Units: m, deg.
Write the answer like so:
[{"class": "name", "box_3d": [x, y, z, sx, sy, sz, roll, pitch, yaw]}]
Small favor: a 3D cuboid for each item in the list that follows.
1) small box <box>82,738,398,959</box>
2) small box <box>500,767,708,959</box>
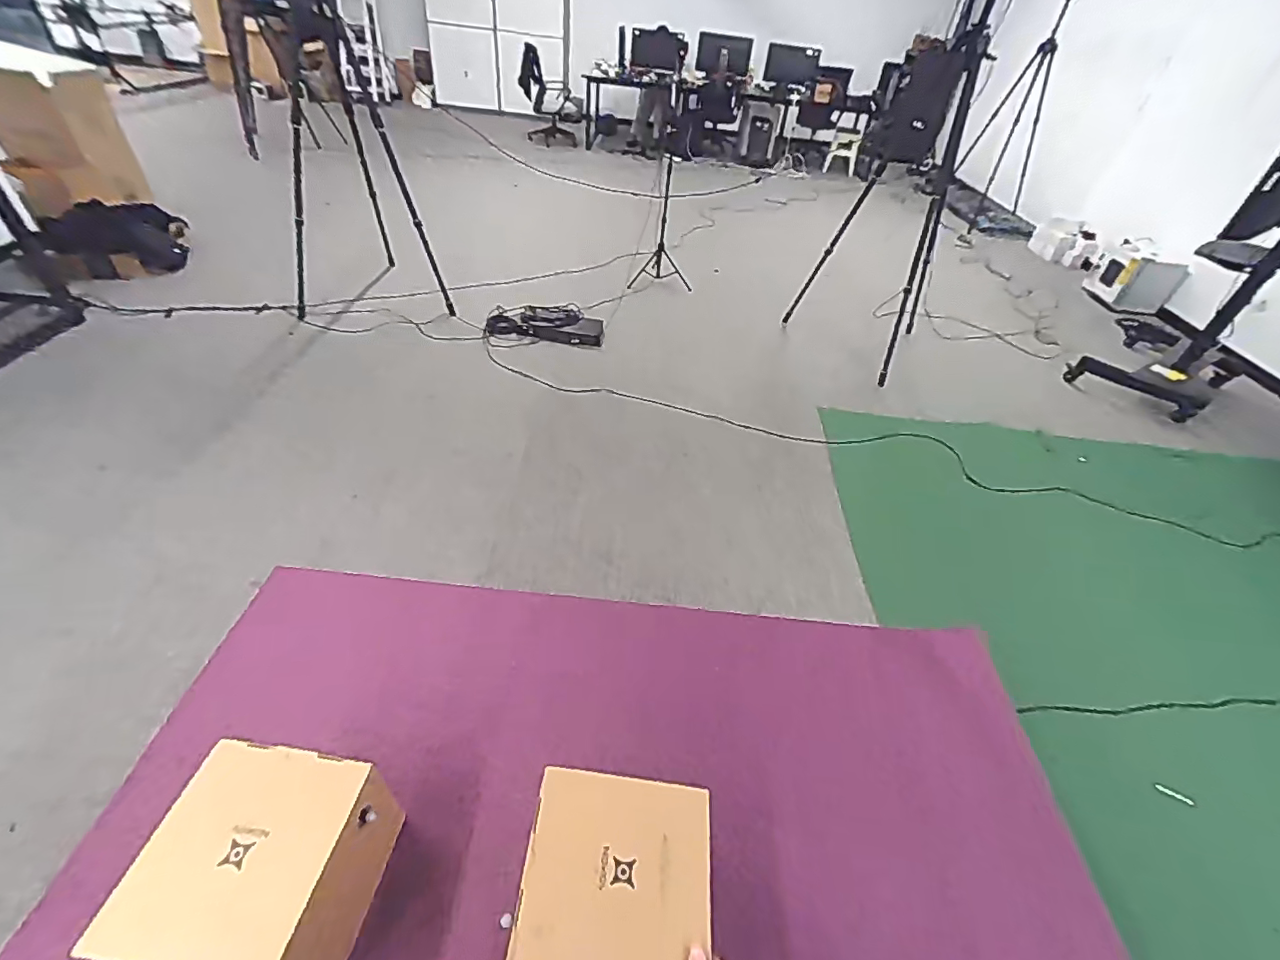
[{"class": "small box", "box_3d": [-0.372, 0.398, 0.551, 0.168, 0.176, 0.179, 8, 40, 2]}, {"class": "small box", "box_3d": [-0.033, 0.423, 0.556, 0.179, 0.176, 0.168, 10, 42, -1]}]
